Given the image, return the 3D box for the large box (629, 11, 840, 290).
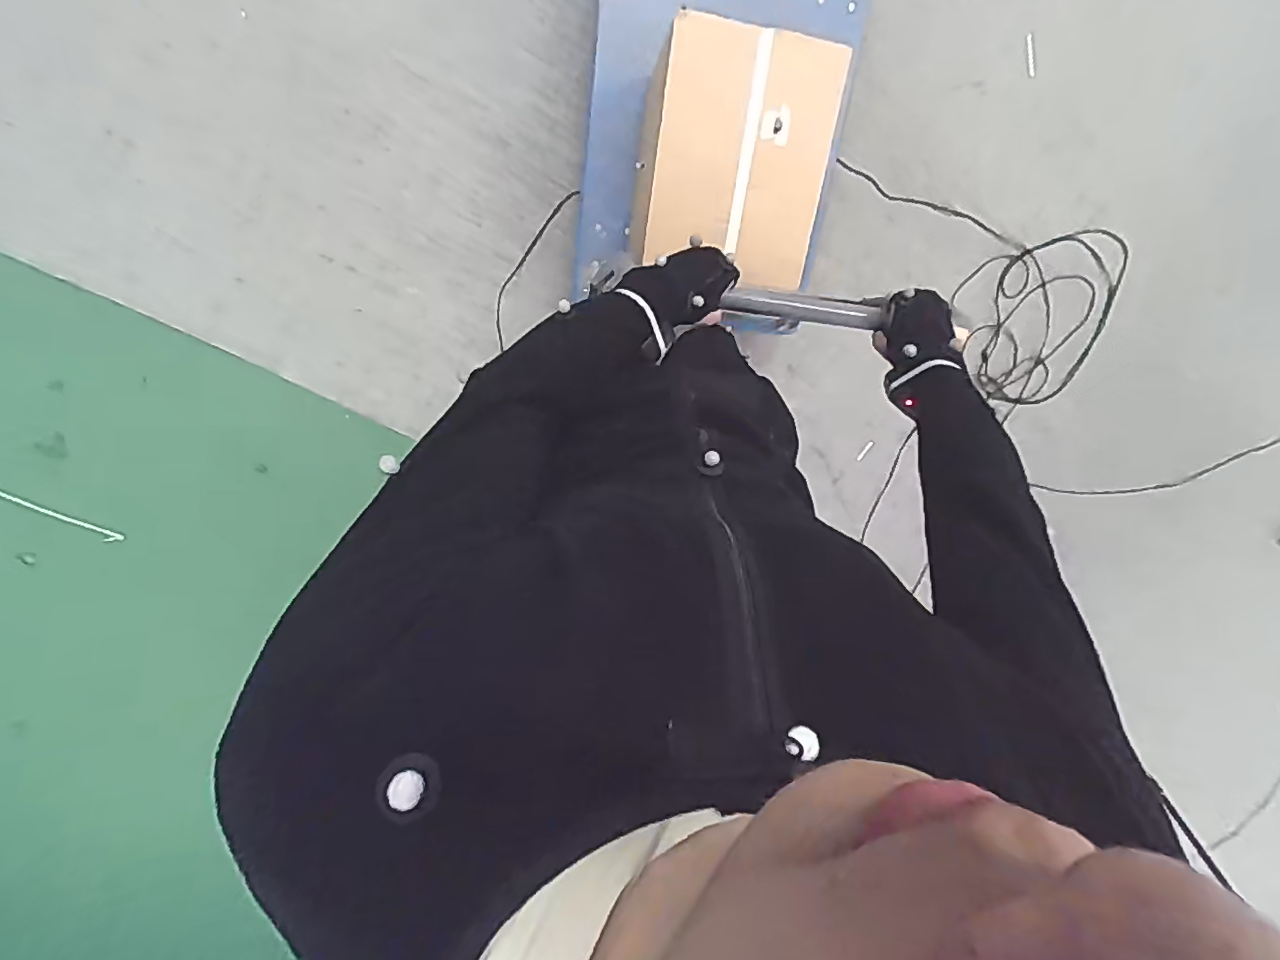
[{"bbox_3d":[0.158,-0.621,1.112,0.320,0.320,0.408,5,108,-10],"label":"large box"}]
